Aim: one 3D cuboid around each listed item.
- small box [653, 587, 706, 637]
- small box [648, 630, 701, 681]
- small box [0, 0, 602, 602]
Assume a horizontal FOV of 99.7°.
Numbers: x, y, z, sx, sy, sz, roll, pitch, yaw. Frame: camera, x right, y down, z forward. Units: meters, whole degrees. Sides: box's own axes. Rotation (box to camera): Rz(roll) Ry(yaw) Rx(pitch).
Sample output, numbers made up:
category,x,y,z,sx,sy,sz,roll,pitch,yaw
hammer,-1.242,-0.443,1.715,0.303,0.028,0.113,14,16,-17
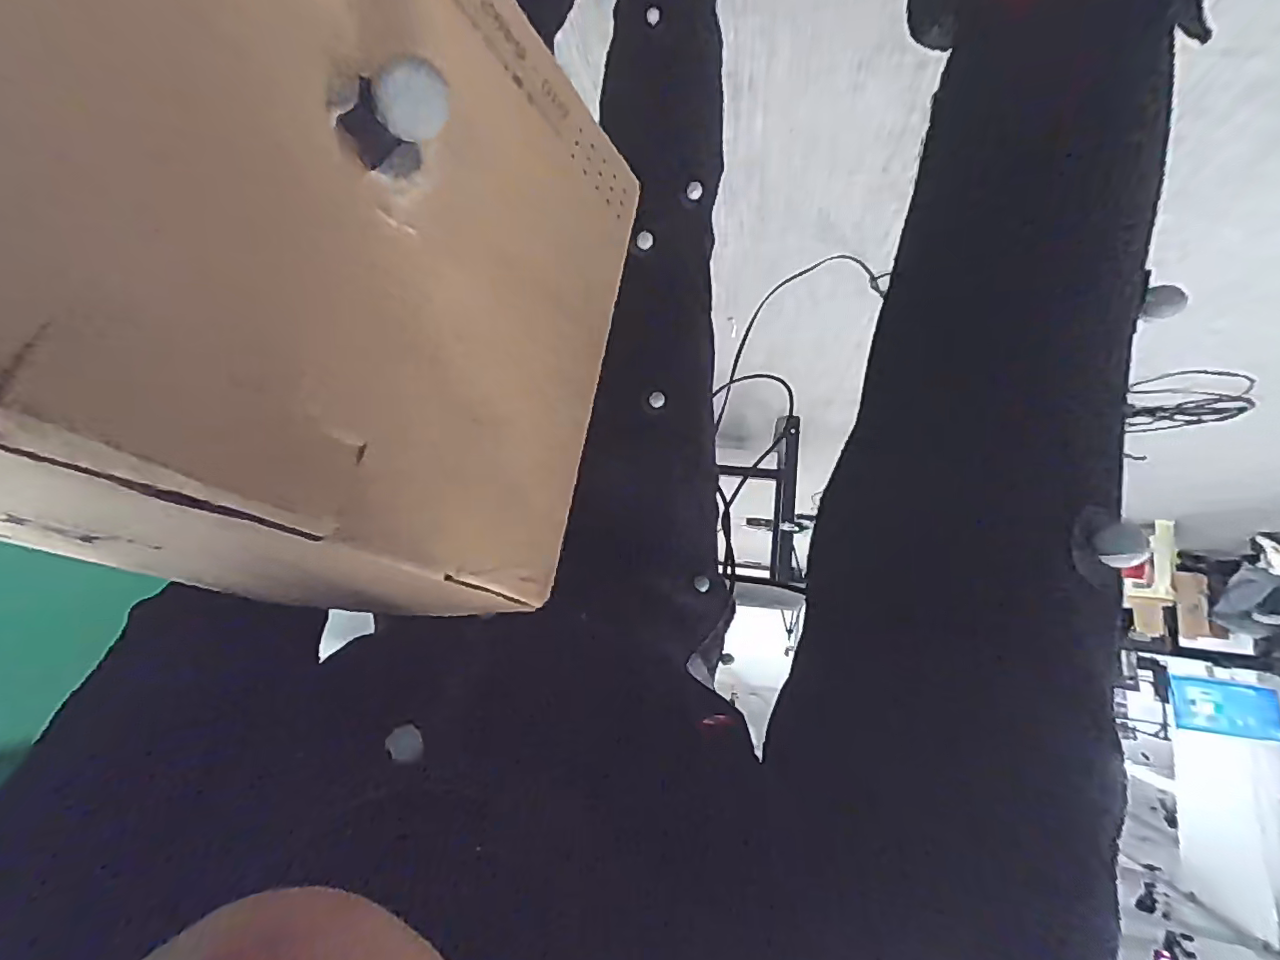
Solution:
category,x,y,z,sx,sy,sz,roll,pitch,yaw
small box,0.162,0.521,2.148,0.168,0.176,0.179,3,168,20
small box,0.142,0.683,2.134,0.179,0.176,0.168,5,168,16
small box,-0.126,-0.065,0.165,0.179,0.176,0.168,-8,151,34
